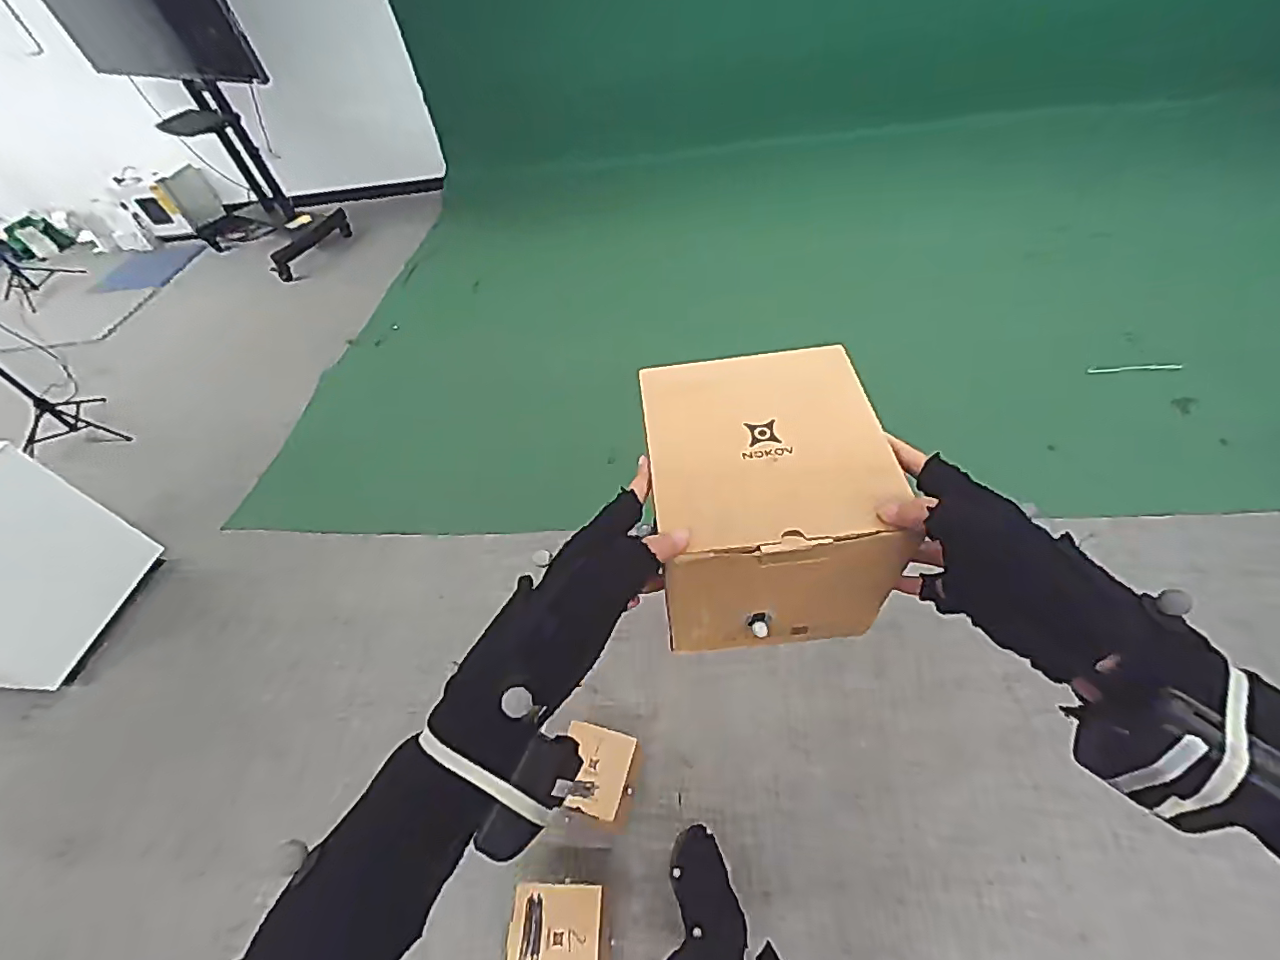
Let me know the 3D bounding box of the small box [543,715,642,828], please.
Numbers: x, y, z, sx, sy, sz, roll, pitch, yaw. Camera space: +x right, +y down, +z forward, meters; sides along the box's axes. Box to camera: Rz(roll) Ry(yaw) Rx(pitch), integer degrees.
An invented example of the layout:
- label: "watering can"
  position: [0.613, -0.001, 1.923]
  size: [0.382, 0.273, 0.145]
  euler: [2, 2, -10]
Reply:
- label: "small box"
  position: [-0.100, 0.683, 1.262]
  size: [0.168, 0.176, 0.179]
  euler: [10, 51, 16]
